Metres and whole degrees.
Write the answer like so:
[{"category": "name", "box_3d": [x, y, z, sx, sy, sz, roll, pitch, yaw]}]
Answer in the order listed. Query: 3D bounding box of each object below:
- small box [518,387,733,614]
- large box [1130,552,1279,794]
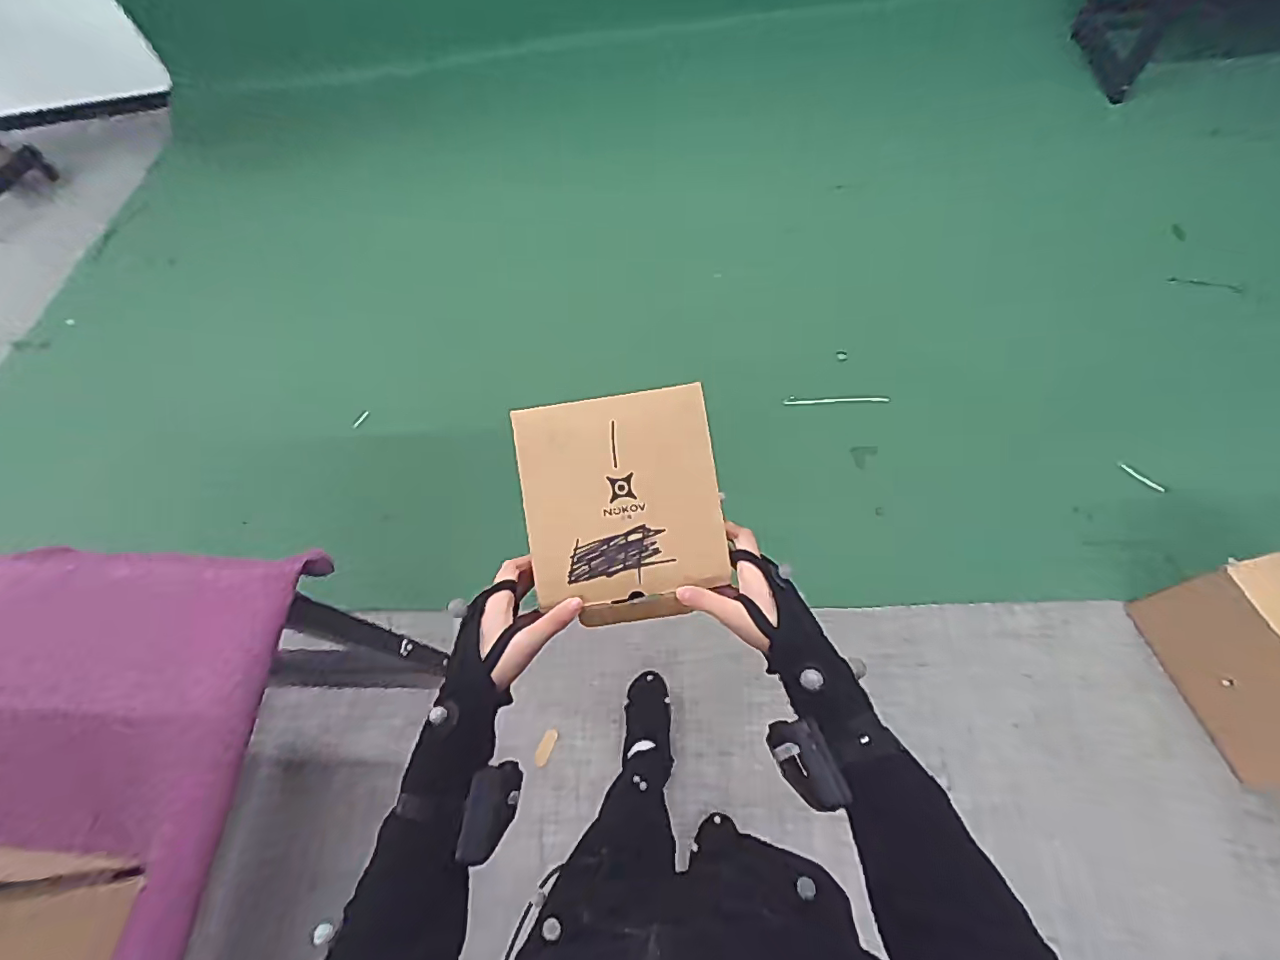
[{"category": "small box", "box_3d": [-0.012, 0.021, 0.535, 0.168, 0.176, 0.179, -8, 86, -1]}, {"category": "large box", "box_3d": [1.356, 0.372, 1.088, 0.320, 0.320, 0.408, -15, 59, 0]}]
